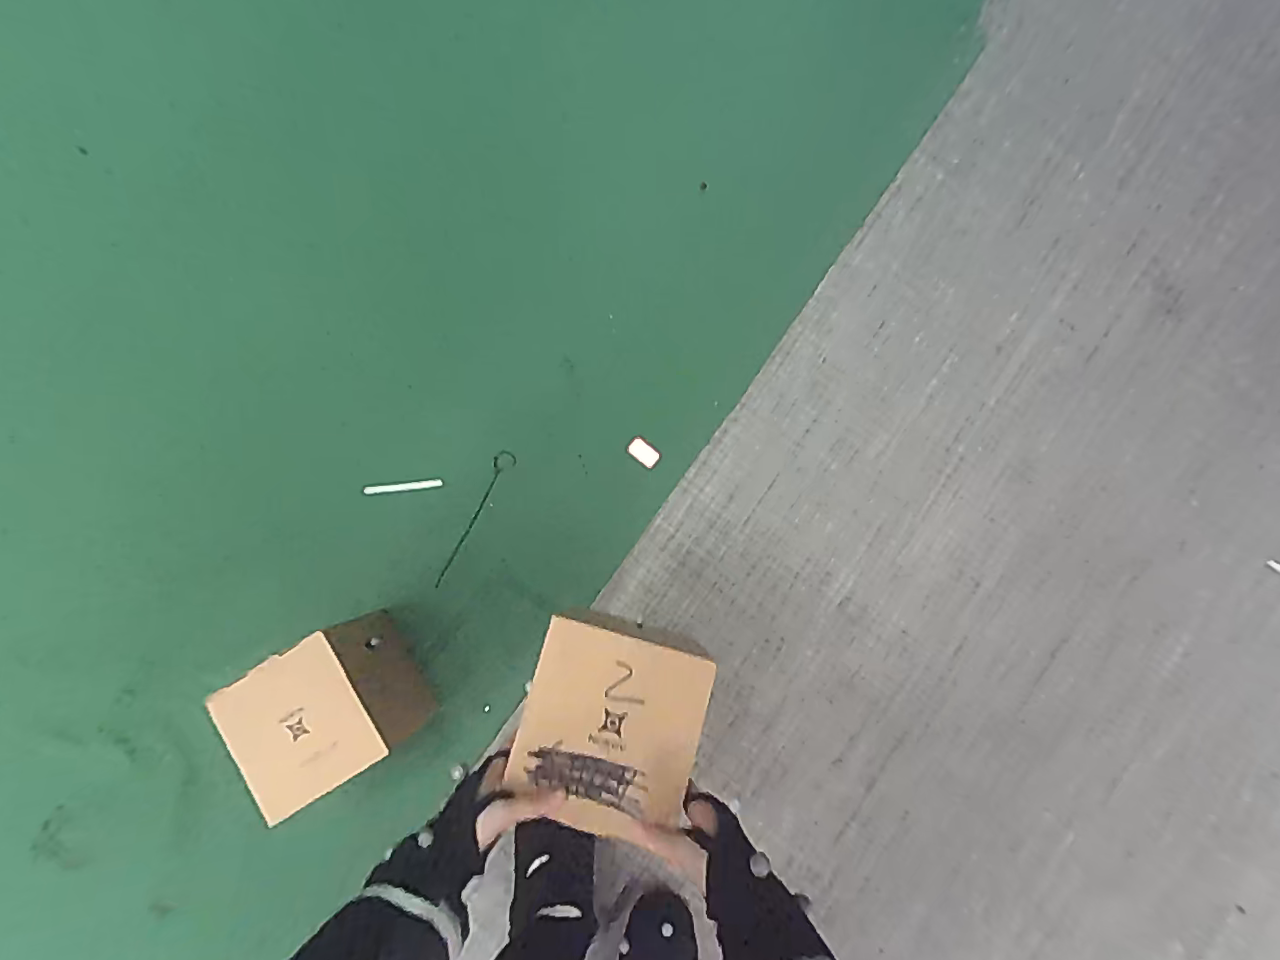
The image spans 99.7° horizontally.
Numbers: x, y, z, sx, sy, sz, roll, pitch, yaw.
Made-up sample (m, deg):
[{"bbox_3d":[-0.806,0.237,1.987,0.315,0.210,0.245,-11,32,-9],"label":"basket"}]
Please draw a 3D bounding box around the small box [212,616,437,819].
[{"bbox_3d":[-0.412,0.302,0.737,0.168,0.176,0.179,-31,86,-3],"label":"small box"}]
